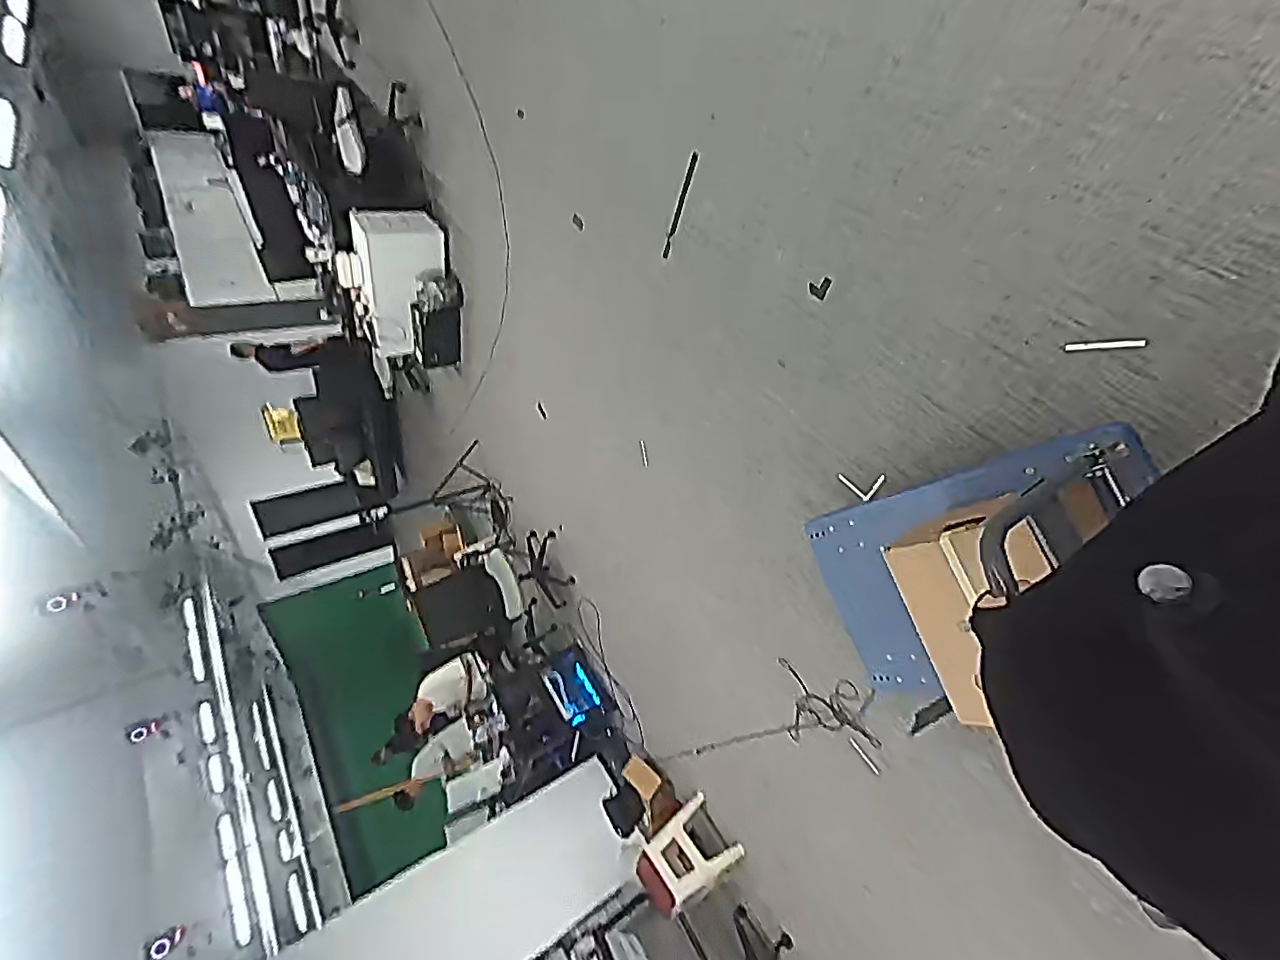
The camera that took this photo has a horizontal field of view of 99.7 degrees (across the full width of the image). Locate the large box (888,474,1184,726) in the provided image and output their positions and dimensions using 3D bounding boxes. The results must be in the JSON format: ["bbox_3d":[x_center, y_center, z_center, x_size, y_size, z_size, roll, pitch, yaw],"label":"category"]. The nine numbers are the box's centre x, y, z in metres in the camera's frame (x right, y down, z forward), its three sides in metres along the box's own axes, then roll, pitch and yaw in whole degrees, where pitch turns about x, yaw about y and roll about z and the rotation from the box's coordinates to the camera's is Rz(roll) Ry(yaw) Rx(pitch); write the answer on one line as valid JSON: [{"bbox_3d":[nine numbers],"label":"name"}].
[{"bbox_3d":[0.822,0.246,1.144,0.320,0.320,0.408,-32,77,56],"label":"large box"}]
